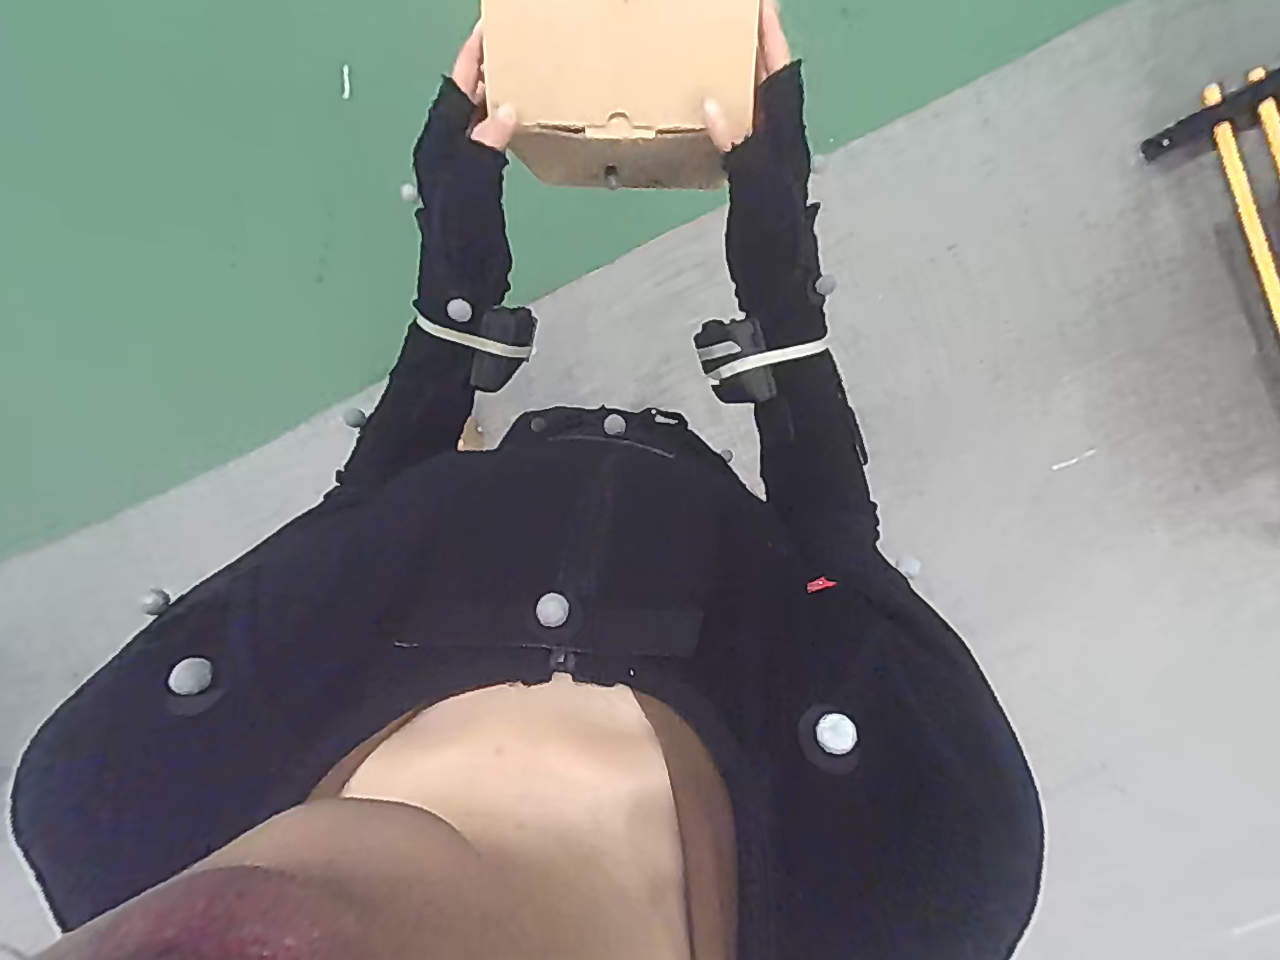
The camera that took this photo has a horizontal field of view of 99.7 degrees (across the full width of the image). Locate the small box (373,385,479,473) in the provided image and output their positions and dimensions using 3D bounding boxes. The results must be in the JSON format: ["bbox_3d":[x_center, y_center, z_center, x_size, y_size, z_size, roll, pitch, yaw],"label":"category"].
[{"bbox_3d":[-0.535,-0.135,1.390,0.179,0.176,0.168,-24,96,5],"label":"small box"}]
